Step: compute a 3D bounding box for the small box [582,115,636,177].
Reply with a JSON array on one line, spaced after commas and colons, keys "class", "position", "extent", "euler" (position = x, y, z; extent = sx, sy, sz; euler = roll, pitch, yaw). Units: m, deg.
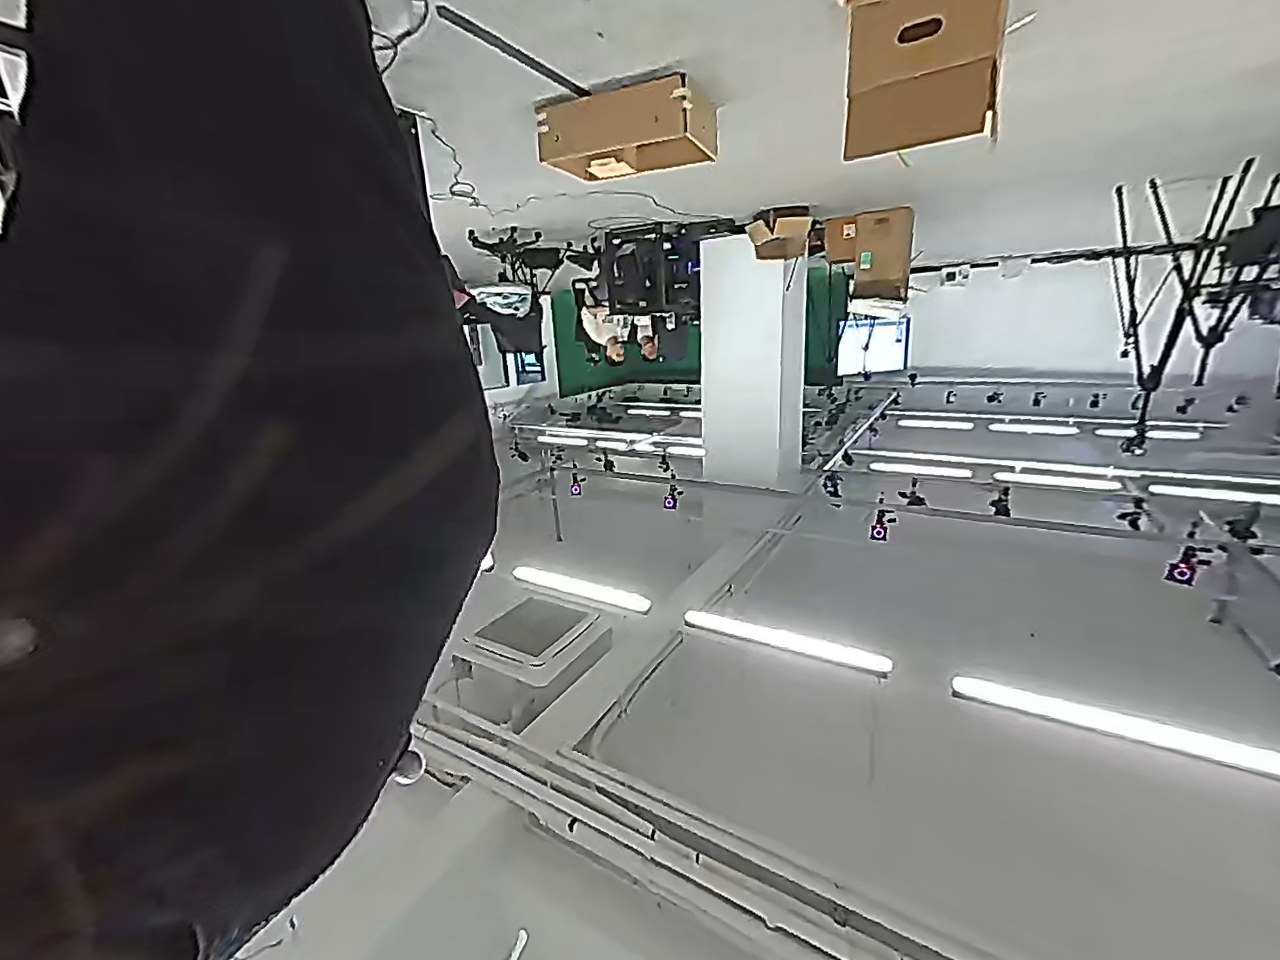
[{"class": "small box", "position": [-0.121, -1.316, 2.128], "extent": [0.168, 0.176, 0.179], "euler": [1, -163, 17]}]
